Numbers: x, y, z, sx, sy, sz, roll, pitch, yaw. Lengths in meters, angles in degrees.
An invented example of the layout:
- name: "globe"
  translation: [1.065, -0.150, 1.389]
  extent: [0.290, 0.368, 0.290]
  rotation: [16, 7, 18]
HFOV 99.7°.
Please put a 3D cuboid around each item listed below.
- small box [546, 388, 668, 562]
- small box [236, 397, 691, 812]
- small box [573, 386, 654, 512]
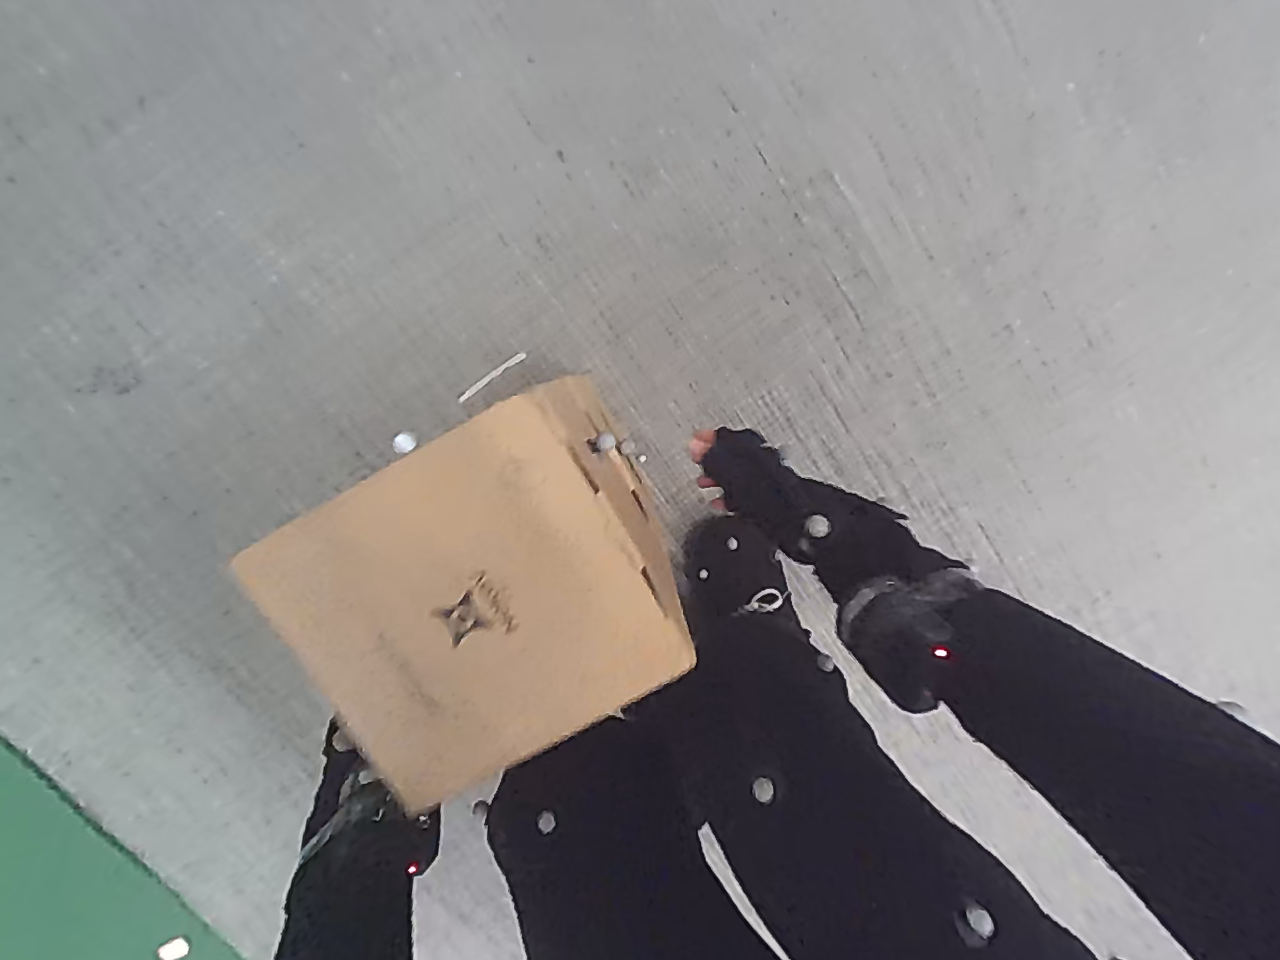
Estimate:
- name: "small box"
  translation: [-0.094, 0.024, 0.513]
  extent: [0.179, 0.176, 0.168]
  rotation: [-32, 101, 4]
- name: "small box"
  translation: [-0.088, 0.055, 0.351]
  extent: [0.179, 0.176, 0.168]
  rotation: [-29, 100, 4]
- name: "small box"
  translation: [-0.100, -0.008, 0.672]
  extent: [0.179, 0.176, 0.168]
  rotation: [-30, 100, 5]
